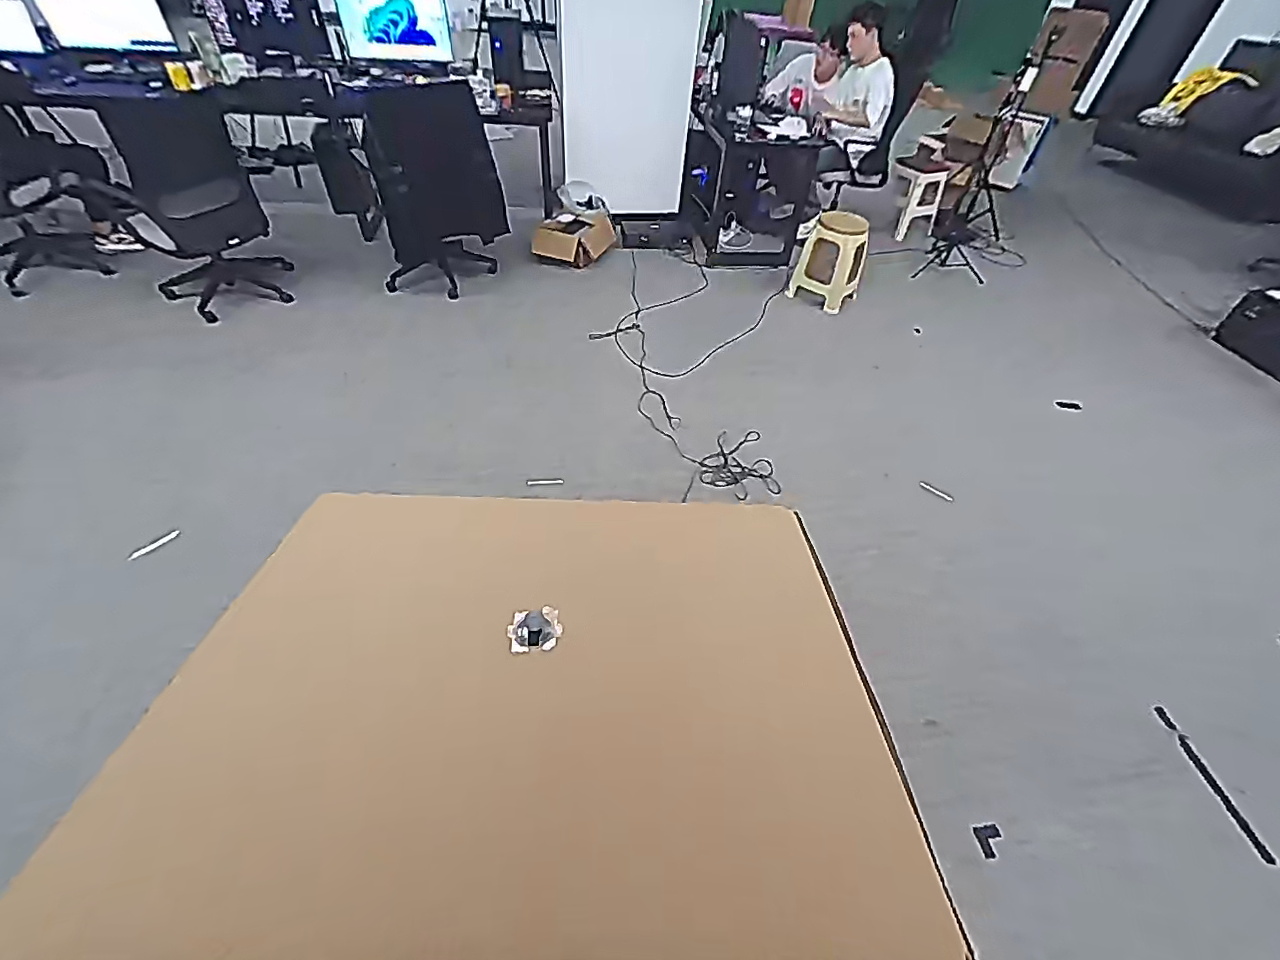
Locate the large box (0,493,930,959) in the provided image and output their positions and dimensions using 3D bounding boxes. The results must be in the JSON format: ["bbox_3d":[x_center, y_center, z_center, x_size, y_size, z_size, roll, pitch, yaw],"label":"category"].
[{"bbox_3d":[-0.084,0.221,0.424,0.408,0.320,0.320,0,37,-2],"label":"large box"}]
